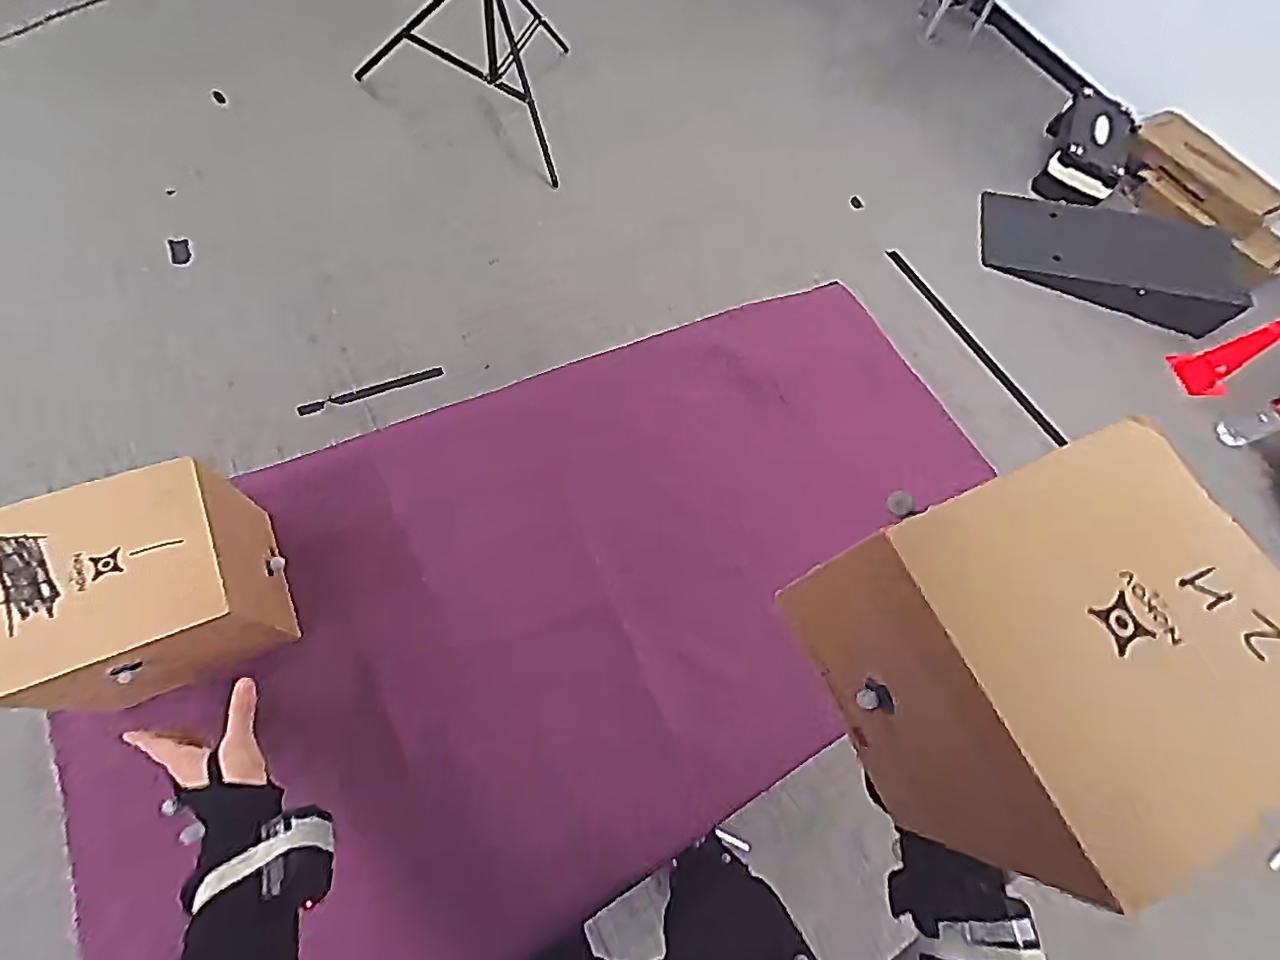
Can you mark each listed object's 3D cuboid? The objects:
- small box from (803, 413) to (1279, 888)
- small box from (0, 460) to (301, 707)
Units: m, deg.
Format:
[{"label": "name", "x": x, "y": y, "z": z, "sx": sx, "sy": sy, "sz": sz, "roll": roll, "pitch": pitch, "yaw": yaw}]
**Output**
[{"label": "small box", "x": 0.221, "y": 0.092, "z": 0.325, "sx": 0.179, "sy": 0.176, "sz": 0.168, "roll": -21, "pitch": 71, "yaw": -14}, {"label": "small box", "x": -0.476, "y": 0.110, "z": 0.535, "sx": 0.179, "sy": 0.176, "sz": 0.168, "roll": -21, "pitch": 73, "yaw": -20}]
